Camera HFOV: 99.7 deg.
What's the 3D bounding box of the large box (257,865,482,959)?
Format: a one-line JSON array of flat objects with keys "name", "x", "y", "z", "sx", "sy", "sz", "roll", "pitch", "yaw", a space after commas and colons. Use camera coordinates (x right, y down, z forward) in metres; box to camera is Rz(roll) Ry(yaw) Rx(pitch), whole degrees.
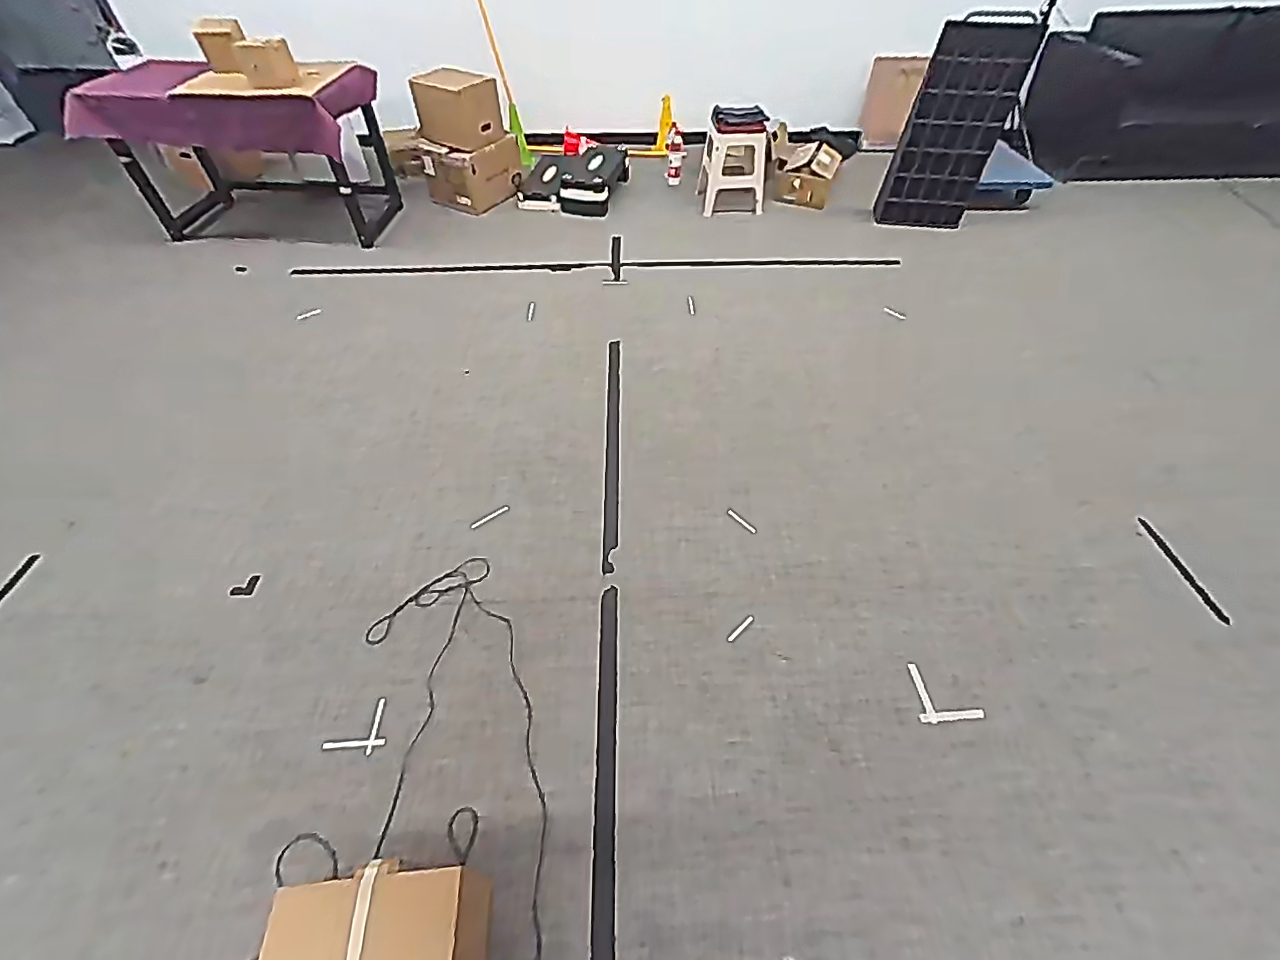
[{"name": "large box", "x": -0.470, "y": 0.948, "z": 0.952, "sx": 0.320, "sy": 0.320, "sz": 0.408, "roll": -3, "pitch": 51, "yaw": -5}]
